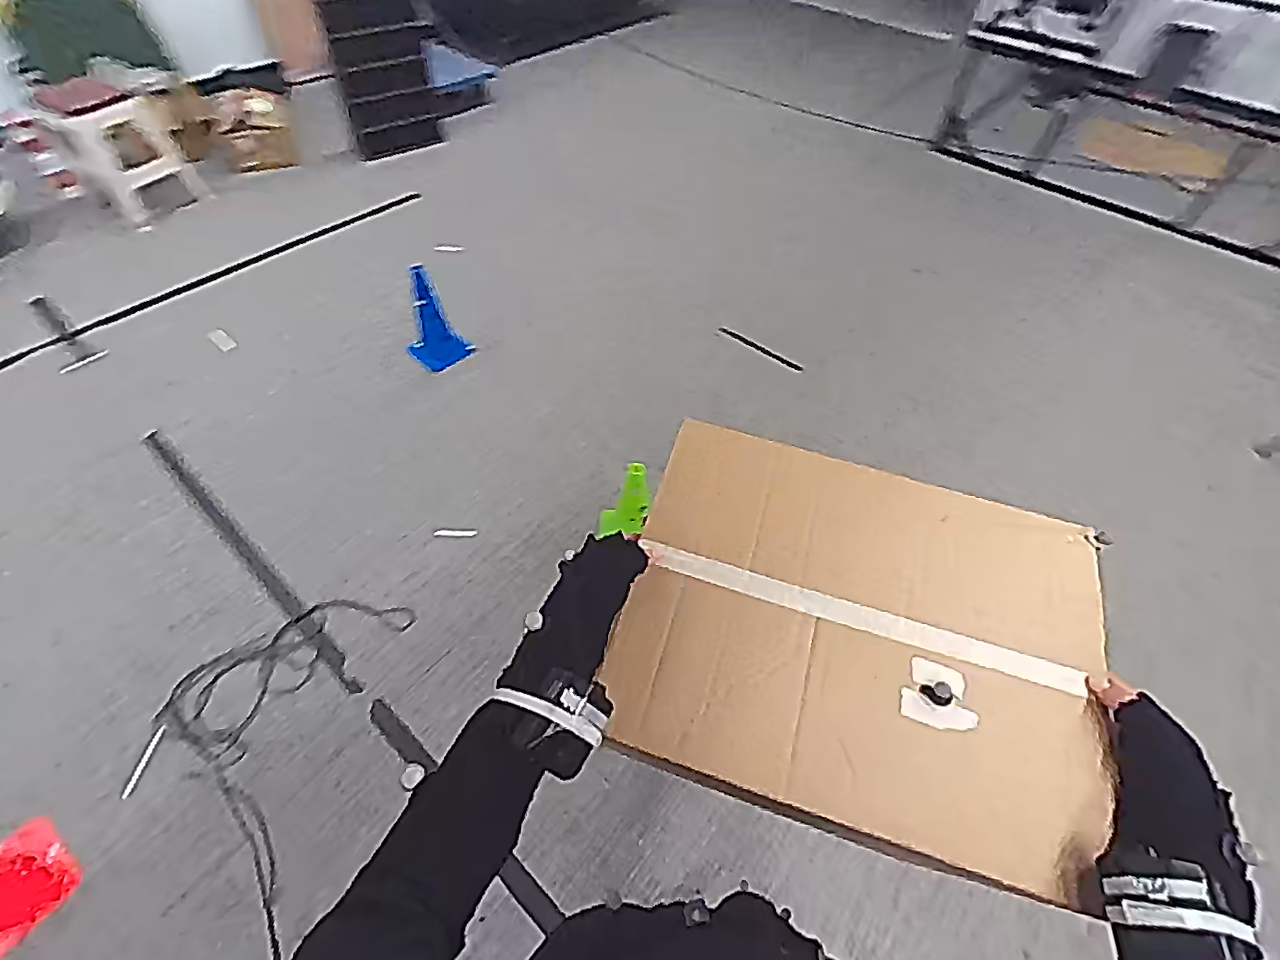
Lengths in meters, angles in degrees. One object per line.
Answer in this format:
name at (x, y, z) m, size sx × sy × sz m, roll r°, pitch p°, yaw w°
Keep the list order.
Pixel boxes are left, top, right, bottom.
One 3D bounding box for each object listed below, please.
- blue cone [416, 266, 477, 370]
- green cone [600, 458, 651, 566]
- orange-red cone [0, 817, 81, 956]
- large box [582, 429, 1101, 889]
blue cone at (-0.762, -0.616, 2.017) m, size 0.193 × 0.380 × 0.192 m, roll 39°, pitch 59°, yaw 22°
green cone at (-0.007, 0.073, 1.530) m, size 0.200 × 0.368 × 0.202 m, roll 4°, pitch 52°, yaw -1°
orange-red cone at (-1.271, 0.738, 0.964) m, size 0.199 × 0.360 × 0.198 m, roll 34°, pitch 60°, yaw 18°
large box at (0.177, 0.192, 0.609) m, size 0.408 × 0.320 × 0.320 m, roll 15°, pitch 62°, yaw 7°
